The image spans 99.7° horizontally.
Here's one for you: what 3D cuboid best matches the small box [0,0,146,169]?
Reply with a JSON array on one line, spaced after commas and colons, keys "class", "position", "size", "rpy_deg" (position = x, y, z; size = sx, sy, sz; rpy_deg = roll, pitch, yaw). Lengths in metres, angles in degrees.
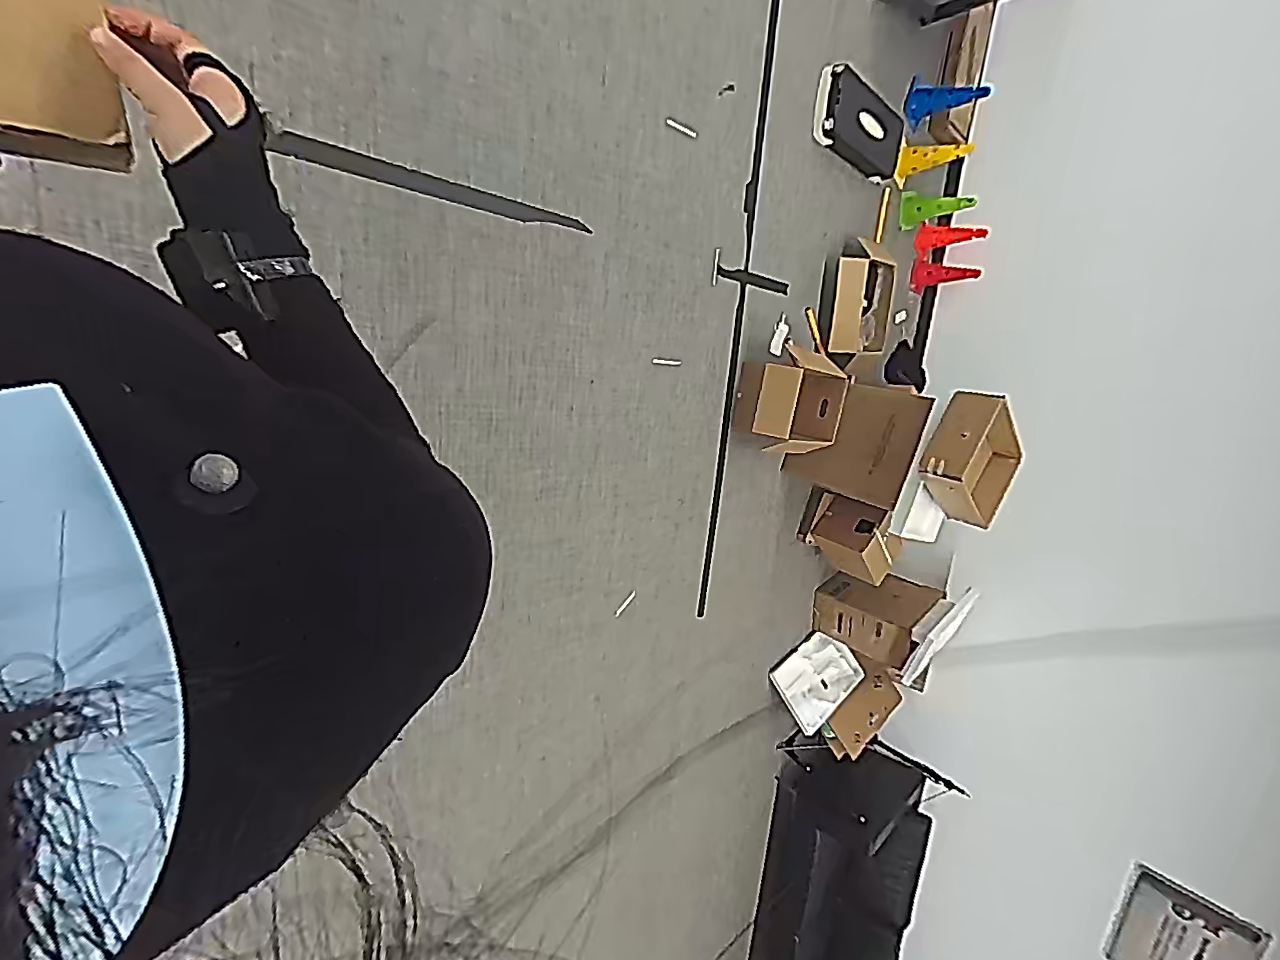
[{"class": "small box", "position": [-0.446, -0.322, 0.350], "size": [0.168, 0.176, 0.179], "rpy_deg": [-10, 115, -40]}]
